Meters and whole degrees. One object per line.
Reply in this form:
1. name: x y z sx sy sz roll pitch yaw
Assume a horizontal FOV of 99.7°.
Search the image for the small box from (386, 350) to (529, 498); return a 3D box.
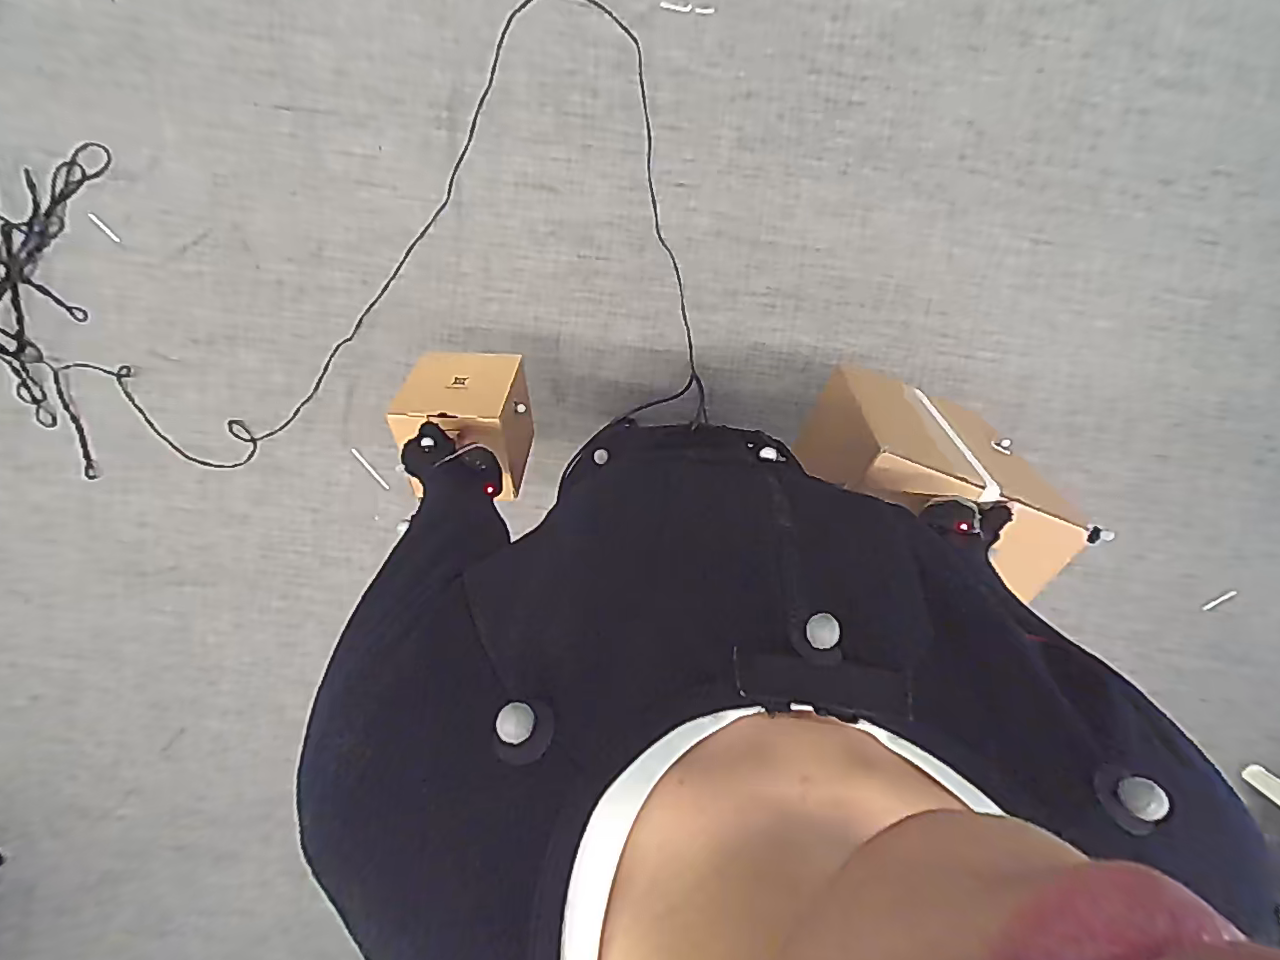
1. small box: -0.283 -0.092 0.886 0.168 0.179 0.176 2 135 1
